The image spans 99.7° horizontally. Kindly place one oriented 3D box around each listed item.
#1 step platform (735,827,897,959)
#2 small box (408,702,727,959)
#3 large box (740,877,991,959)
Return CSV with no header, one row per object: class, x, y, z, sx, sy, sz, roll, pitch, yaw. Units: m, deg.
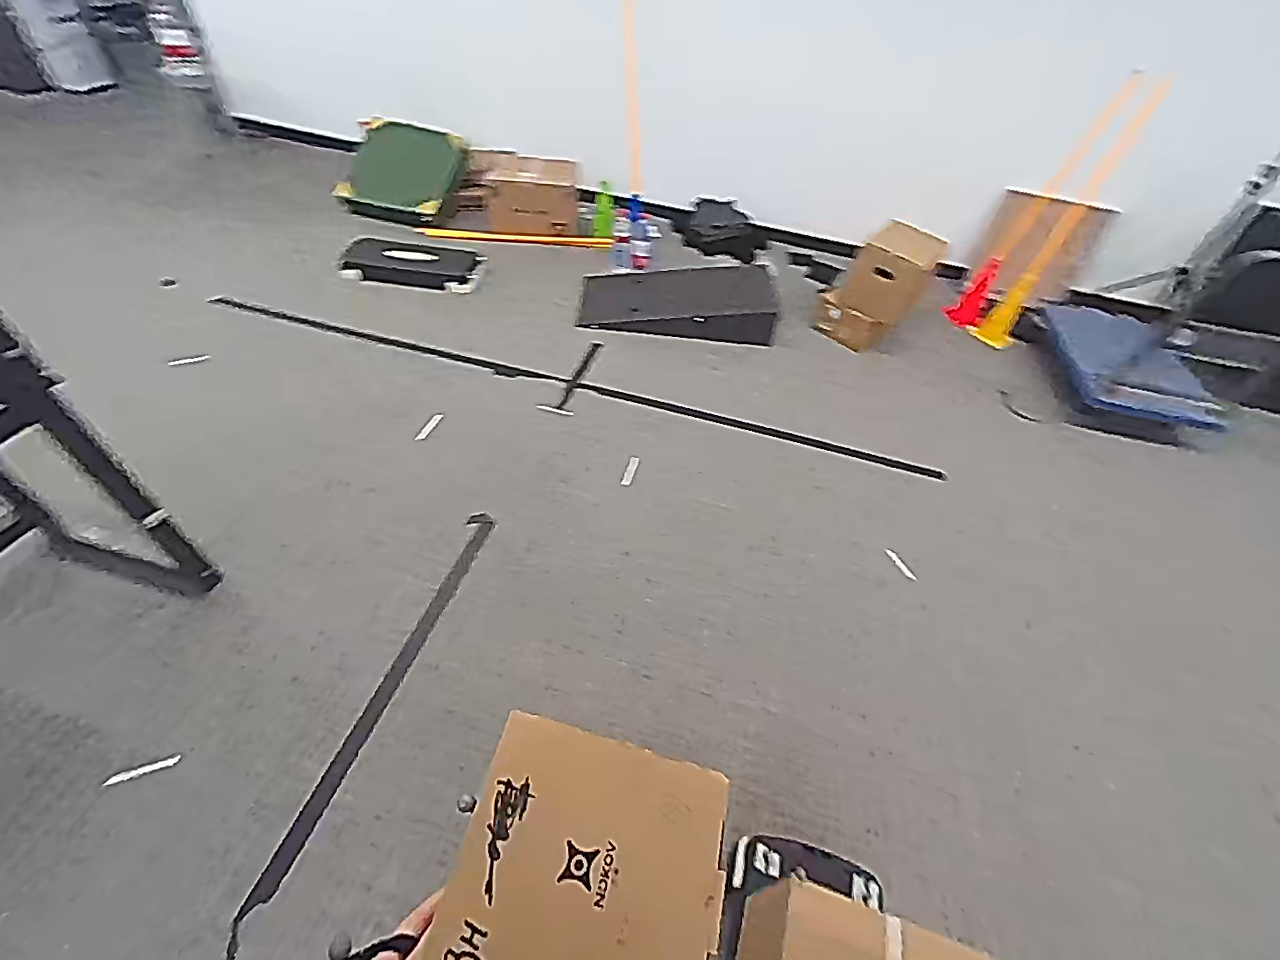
step platform,0.277,1.040,0.982,0.286,0.204,0.684,20,47,11
small box,-0.052,0.298,0.413,0.179,0.176,0.168,18,49,-1
large box,0.304,0.897,0.792,0.320,0.320,0.408,18,47,9
